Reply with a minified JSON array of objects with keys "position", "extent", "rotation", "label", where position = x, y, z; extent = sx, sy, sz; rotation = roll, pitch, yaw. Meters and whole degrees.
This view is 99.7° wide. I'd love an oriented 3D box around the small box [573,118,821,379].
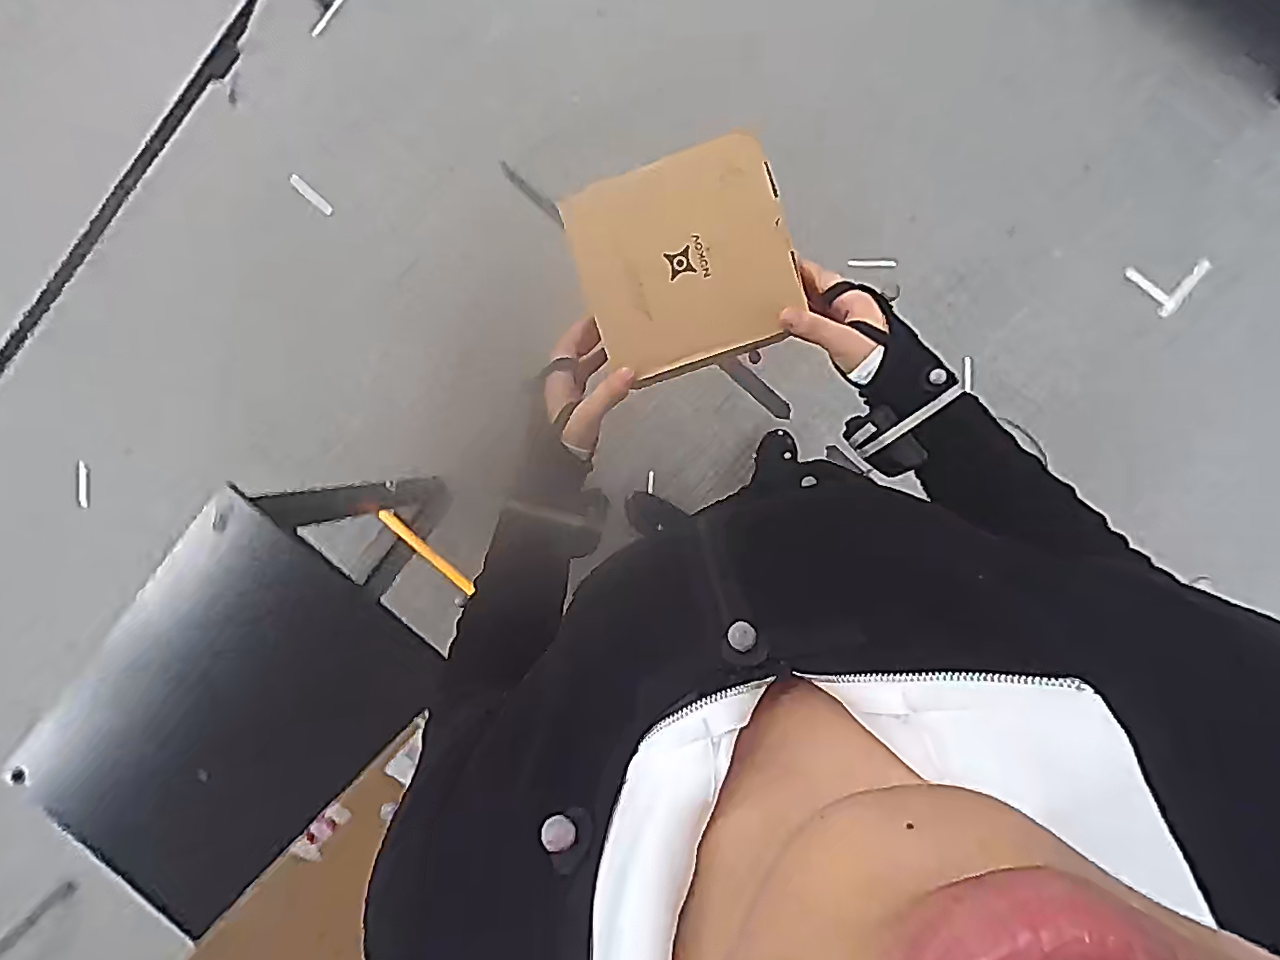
[{"position":[0.054,-0.204,0.533],"extent":[0.179,0.176,0.168],"rotation":[-17,96,8],"label":"small box"}]
